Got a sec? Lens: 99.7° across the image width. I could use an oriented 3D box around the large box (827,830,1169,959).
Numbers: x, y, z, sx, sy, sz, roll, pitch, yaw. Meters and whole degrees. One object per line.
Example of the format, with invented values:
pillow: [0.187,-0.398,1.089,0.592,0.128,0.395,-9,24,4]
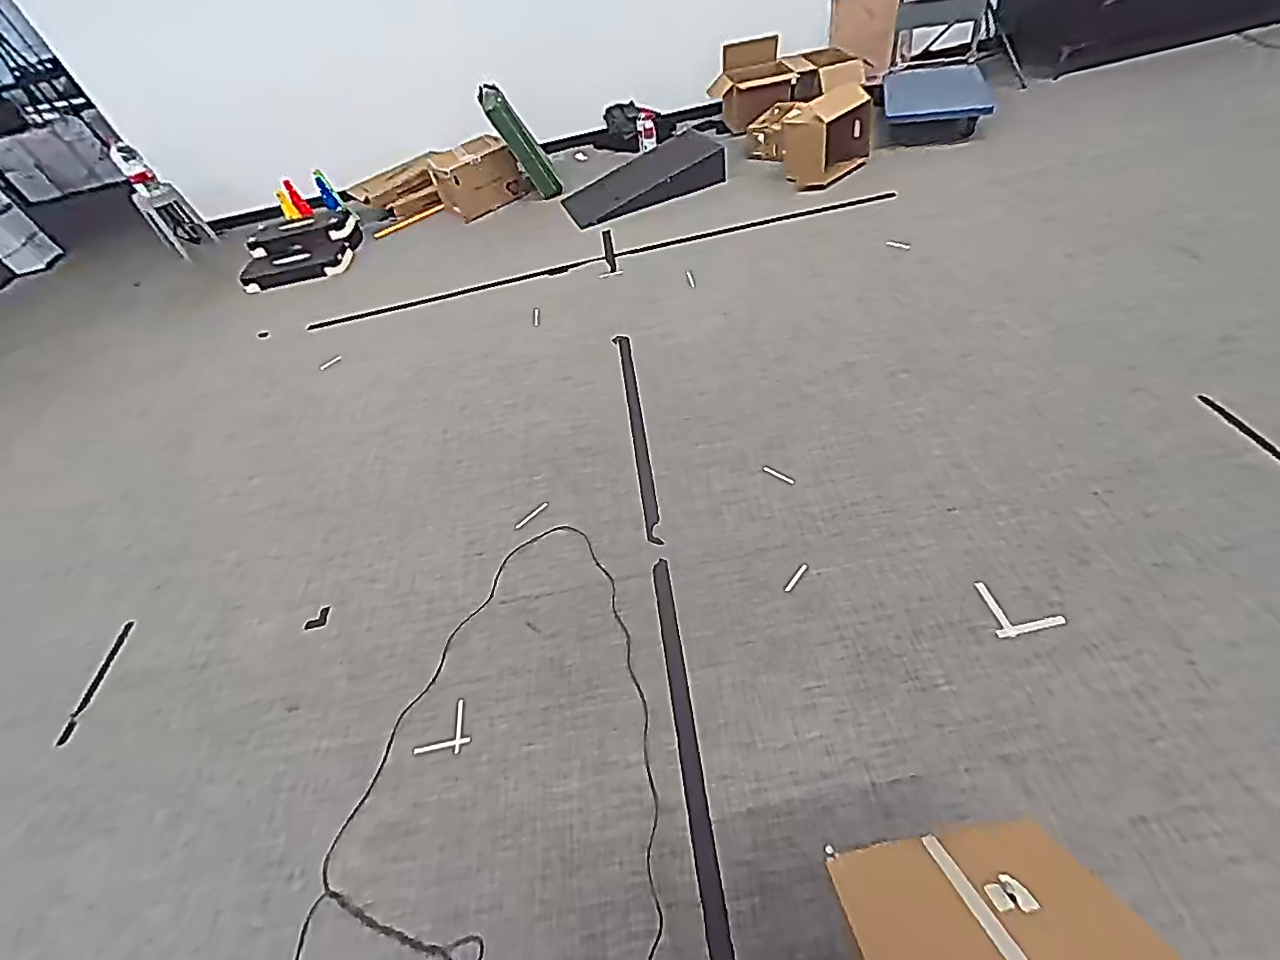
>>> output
large box: [0.457,0.697,0.616,0.320,0.408,0.320,-12,87,3]
